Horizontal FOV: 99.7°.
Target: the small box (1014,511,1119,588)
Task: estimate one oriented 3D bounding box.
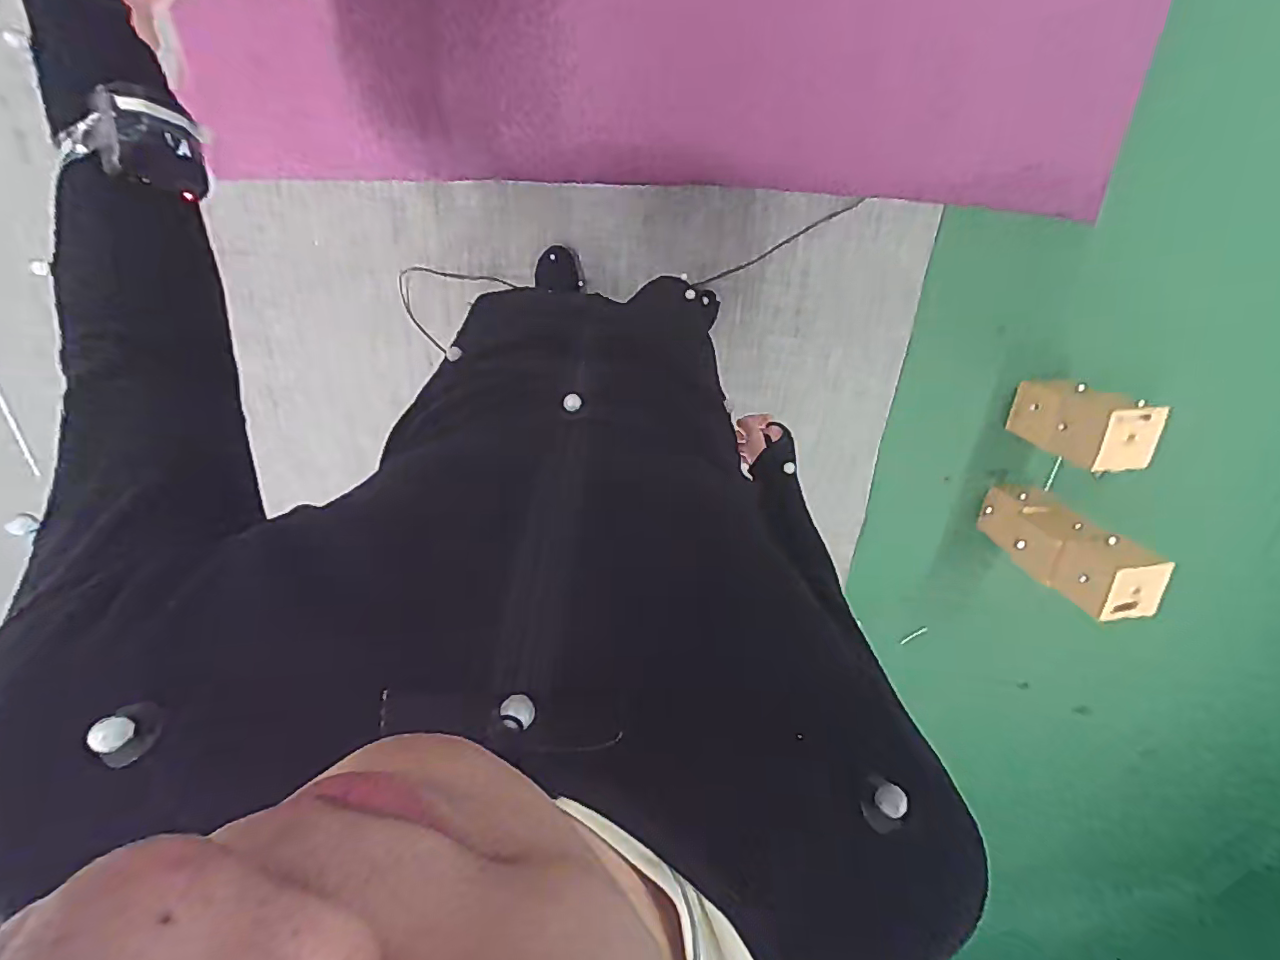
[{"bbox_3d":[1.310,0.208,1.669,0.179,0.176,0.168,-8,115,-1],"label":"small box"}]

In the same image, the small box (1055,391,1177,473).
[{"bbox_3d":[1.309,-0.137,1.505,0.168,0.176,0.179,-4,116,-4],"label":"small box"}]

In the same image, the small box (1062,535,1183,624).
[{"bbox_3d":[1.341,0.276,1.520,0.168,0.176,0.179,-6,115,-2],"label":"small box"}]

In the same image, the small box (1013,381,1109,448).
[{"bbox_3d":[1.294,-0.203,1.655,0.179,0.176,0.168,-1,115,-5],"label":"small box"}]
